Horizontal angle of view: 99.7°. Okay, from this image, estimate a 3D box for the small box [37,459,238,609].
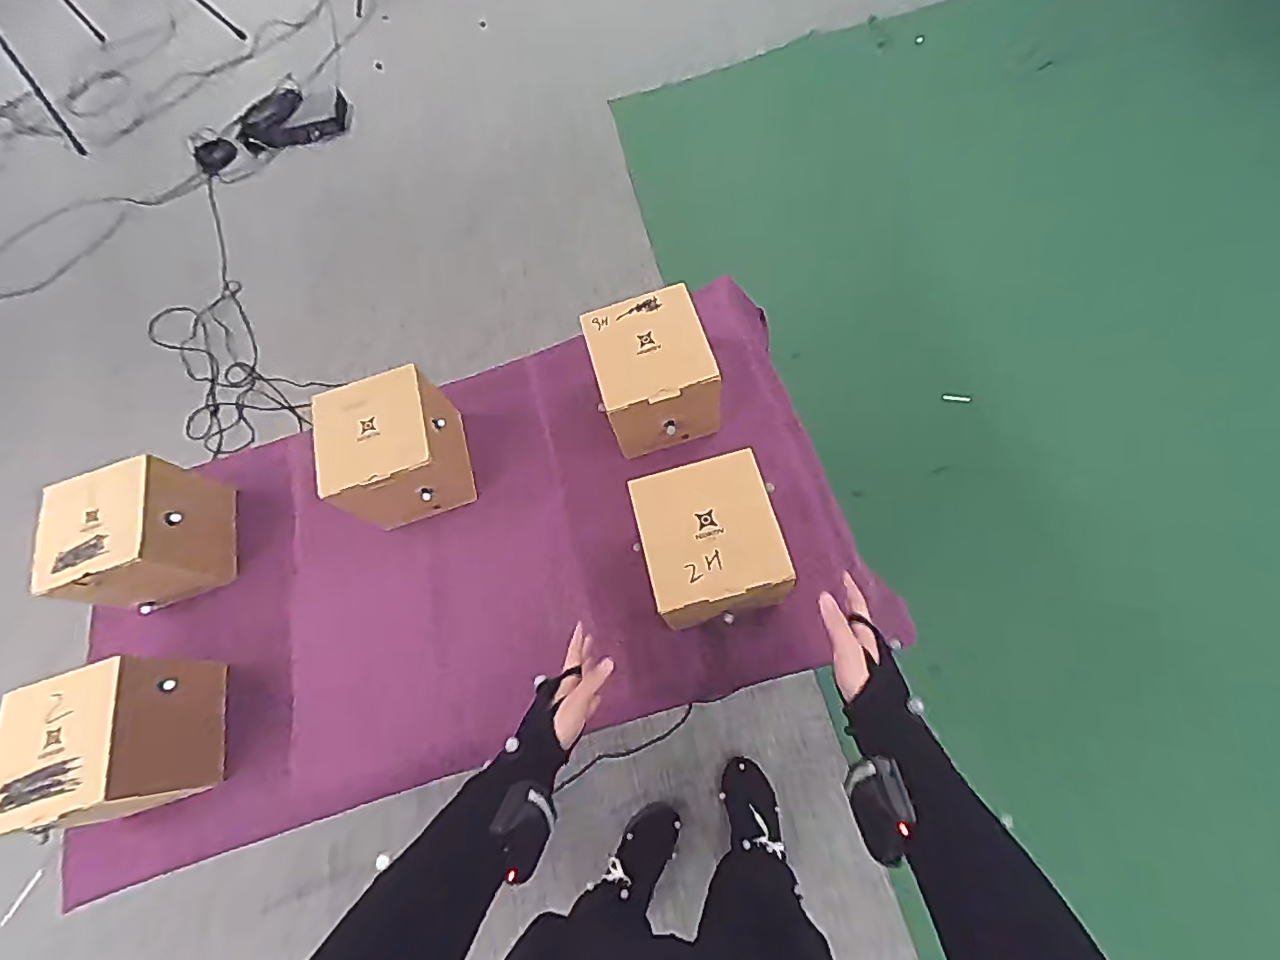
[{"bbox_3d":[-0.783,0.096,0.862,0.168,0.176,0.179,-20,67,0],"label":"small box"}]

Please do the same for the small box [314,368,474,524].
[{"bbox_3d":[-0.382,-0.042,0.859,0.168,0.176,0.179,-18,67,0],"label":"small box"}]

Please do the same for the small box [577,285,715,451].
[{"bbox_3d":[0.016,-0.161,0.843,0.168,0.176,0.179,-18,68,2],"label":"small box"}]

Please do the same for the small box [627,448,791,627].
[{"bbox_3d":[0.091,0.086,0.730,0.168,0.176,0.179,-16,66,4],"label":"small box"}]
